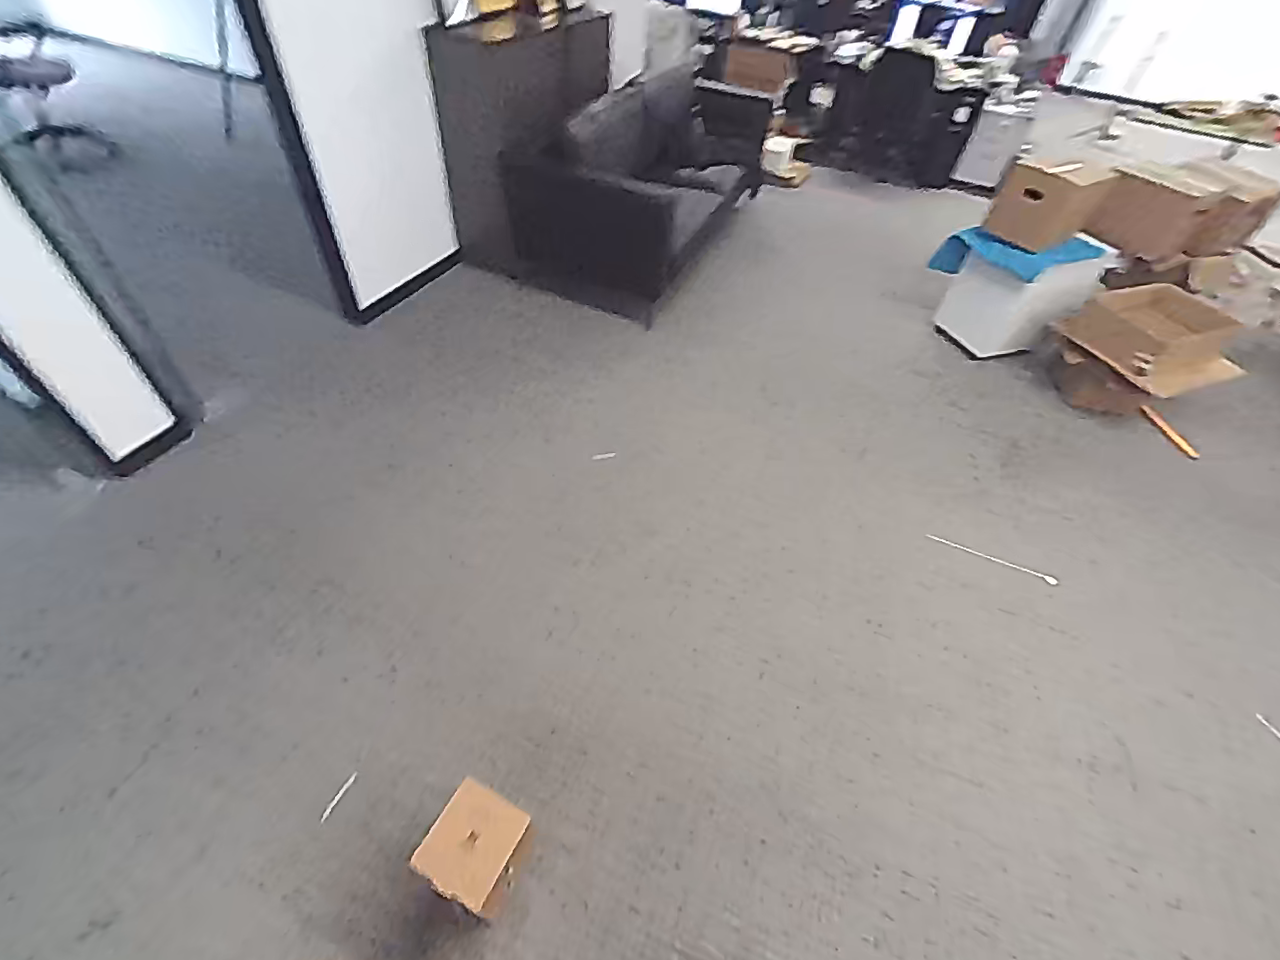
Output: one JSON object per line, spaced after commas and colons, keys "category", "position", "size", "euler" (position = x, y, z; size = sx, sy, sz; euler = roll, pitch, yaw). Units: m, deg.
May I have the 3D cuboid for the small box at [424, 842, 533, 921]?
{"category": "small box", "position": [-0.358, 0.876, 1.244], "size": [0.168, 0.176, 0.179], "euler": [22, 50, 13]}

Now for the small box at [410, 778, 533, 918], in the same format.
{"category": "small box", "position": [-0.336, 0.767, 1.123], "size": [0.168, 0.176, 0.179], "euler": [24, 49, 15]}
